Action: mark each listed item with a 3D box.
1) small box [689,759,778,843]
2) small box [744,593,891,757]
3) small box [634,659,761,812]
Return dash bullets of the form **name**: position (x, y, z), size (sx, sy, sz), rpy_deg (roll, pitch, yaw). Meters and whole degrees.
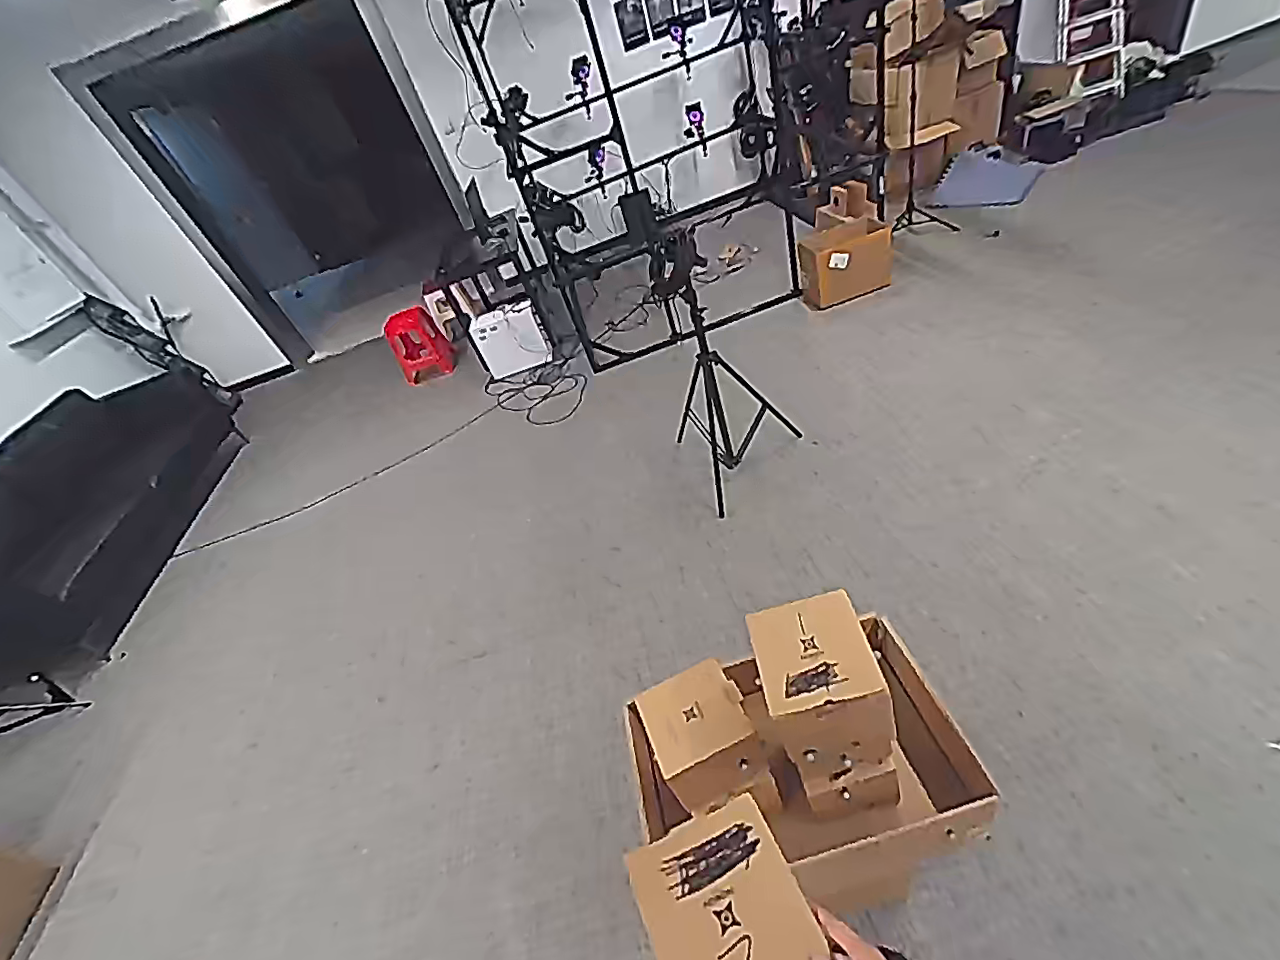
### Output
- **small box**: position (0.164, 0.596, 1.103), size (0.168, 0.176, 0.179), rpy_deg (-25, 40, -4)
- **small box**: position (0.278, 0.313, 0.850), size (0.168, 0.176, 0.179), rpy_deg (-18, 39, 10)
- **small box**: position (0.112, 0.476, 1.005), size (0.179, 0.176, 0.168), rpy_deg (-25, 39, -5)
